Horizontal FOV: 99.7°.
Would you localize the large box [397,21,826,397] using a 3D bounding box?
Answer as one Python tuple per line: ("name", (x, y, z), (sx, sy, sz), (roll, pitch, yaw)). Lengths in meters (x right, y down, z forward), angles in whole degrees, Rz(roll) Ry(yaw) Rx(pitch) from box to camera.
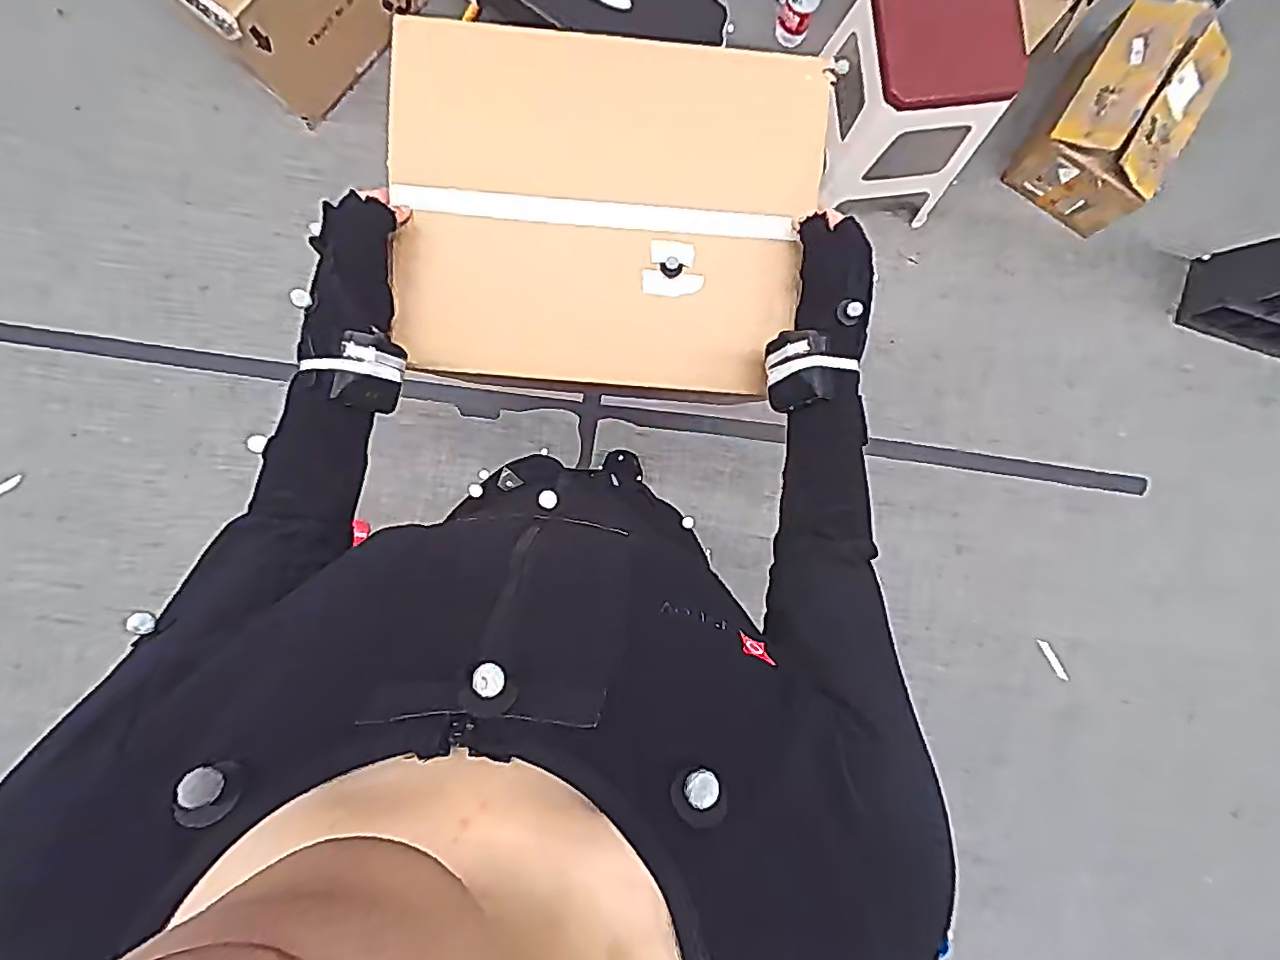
("large box", (-0.036, -0.275, 0.665), (0.408, 0.320, 0.320), (4, 97, -2))
